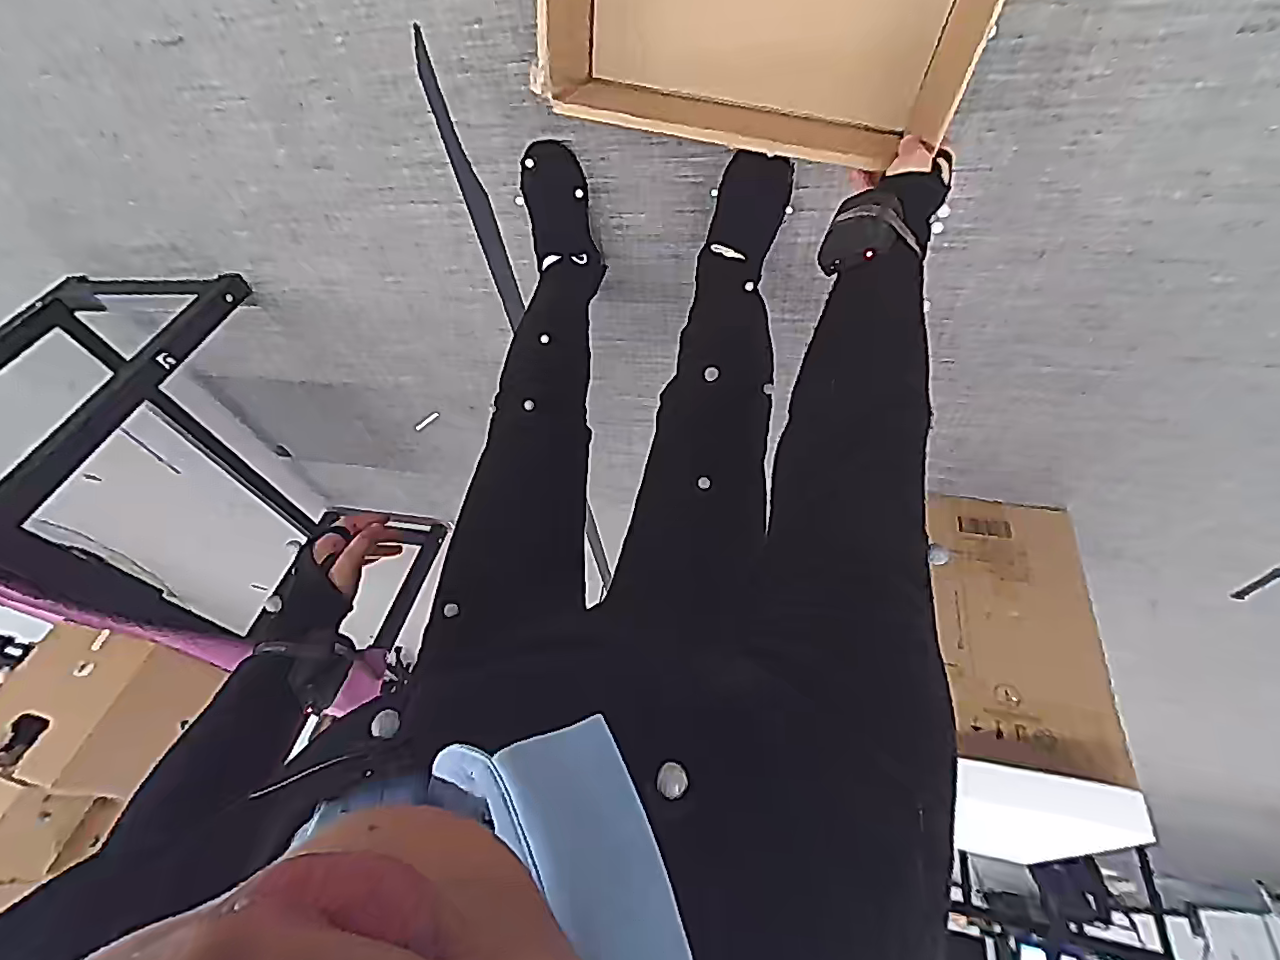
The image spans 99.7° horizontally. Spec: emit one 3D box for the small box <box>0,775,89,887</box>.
[{"bbox_3d":[-1.321,0.714,1.113,0.179,0.176,0.168,7,147,12],"label":"small box"}]

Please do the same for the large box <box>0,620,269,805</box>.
[{"bbox_3d":[-1.257,0.581,1.340,0.320,0.320,0.408,8,147,13],"label":"large box"}]
